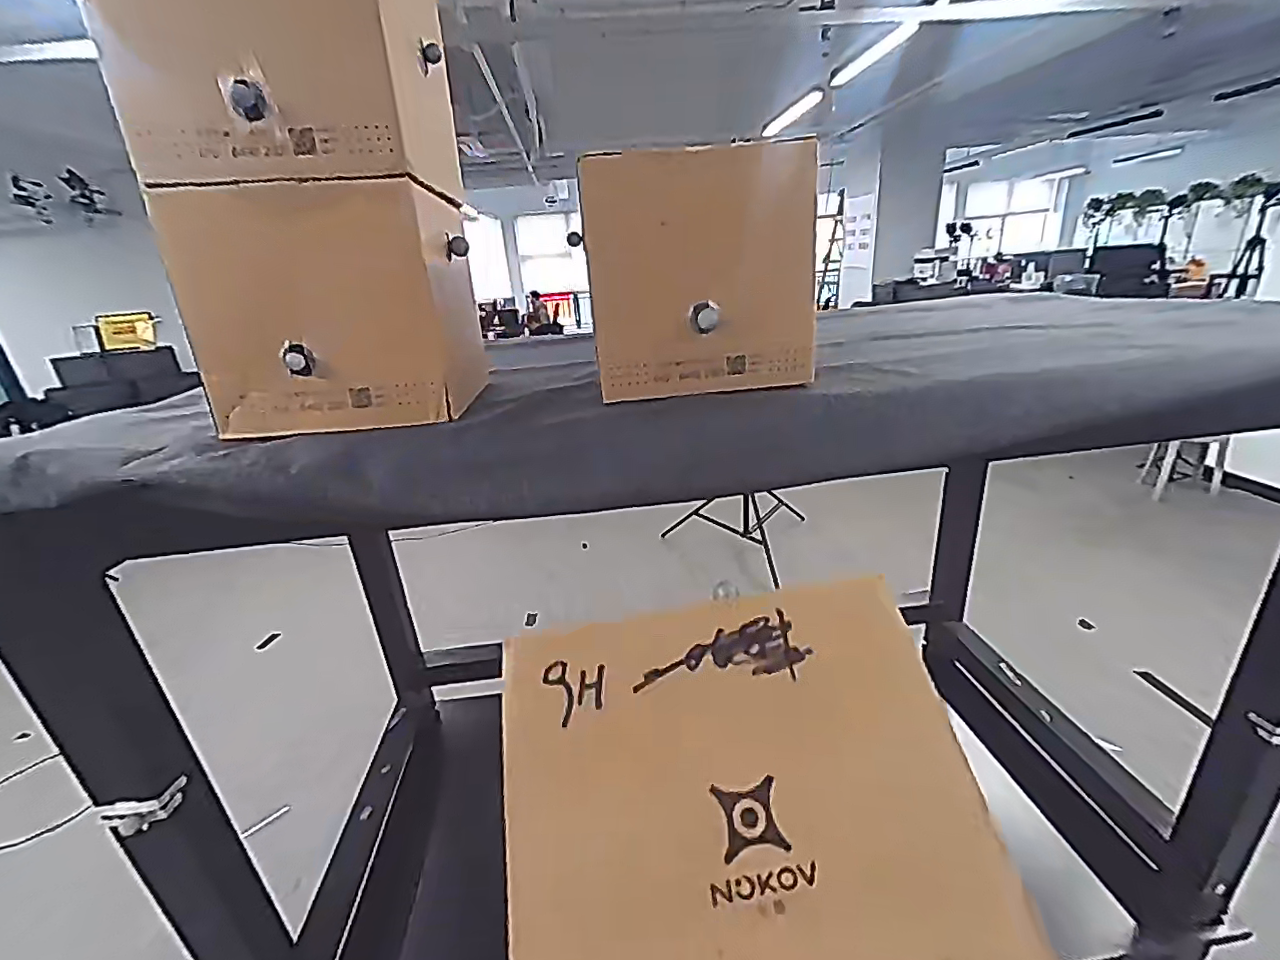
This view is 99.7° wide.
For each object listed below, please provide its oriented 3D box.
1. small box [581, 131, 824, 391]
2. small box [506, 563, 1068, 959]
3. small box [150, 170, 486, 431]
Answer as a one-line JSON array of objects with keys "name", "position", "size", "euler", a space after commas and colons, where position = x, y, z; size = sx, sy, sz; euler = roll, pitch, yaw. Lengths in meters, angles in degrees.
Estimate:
[{"name": "small box", "position": [0.041, -0.174, 0.461], "size": [0.168, 0.176, 0.179], "euler": [-6, 20, -3]}, {"name": "small box", "position": [0.041, 0.159, 0.246], "size": [0.168, 0.176, 0.179], "euler": [-8, 59, -5]}, {"name": "small box", "position": [-0.230, -0.142, 0.446], "size": [0.168, 0.176, 0.179], "euler": [-6, 20, -5]}]
